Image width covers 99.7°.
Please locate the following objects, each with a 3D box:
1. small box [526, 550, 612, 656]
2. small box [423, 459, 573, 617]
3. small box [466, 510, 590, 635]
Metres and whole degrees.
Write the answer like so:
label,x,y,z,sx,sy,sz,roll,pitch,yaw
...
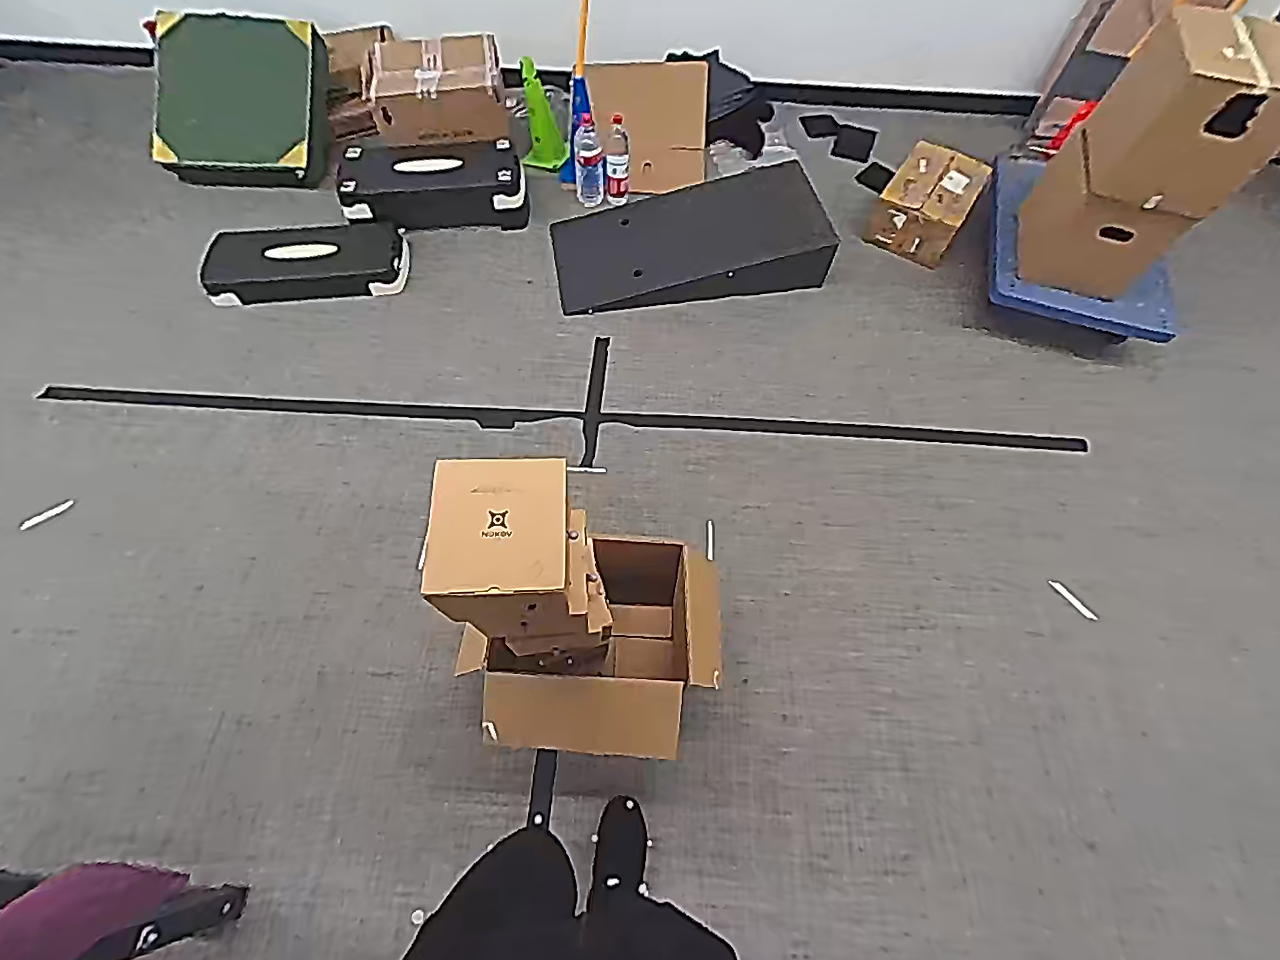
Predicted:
label,x,y,z,sx,sy,sz,roll,pitch,yaw
small box,-0.166,0.275,1.186,0.179,0.176,0.168,-14,67,-12
small box,-0.176,0.086,0.730,0.168,0.176,0.179,0,65,-6
small box,-0.171,0.155,0.879,0.179,0.176,0.168,-1,66,-6
